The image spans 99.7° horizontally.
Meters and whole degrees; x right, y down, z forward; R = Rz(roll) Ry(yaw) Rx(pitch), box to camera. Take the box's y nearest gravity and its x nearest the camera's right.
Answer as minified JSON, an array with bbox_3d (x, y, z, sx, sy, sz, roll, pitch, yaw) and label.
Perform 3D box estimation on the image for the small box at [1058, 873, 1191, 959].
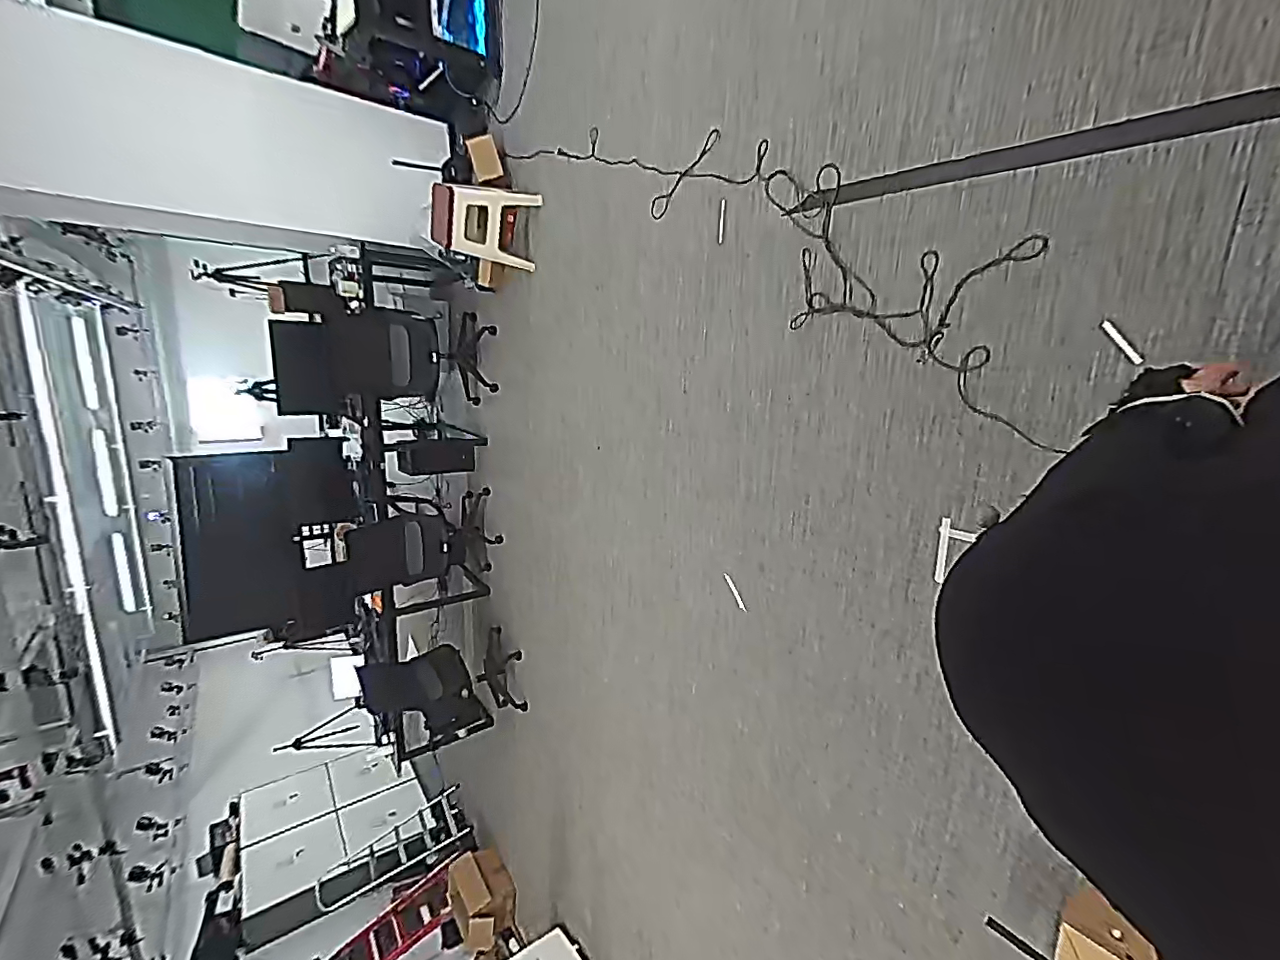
[{"bbox_3d":[1.000,0.988,1.123,0.168,0.176,0.179,15,109,51],"label":"small box"}]
